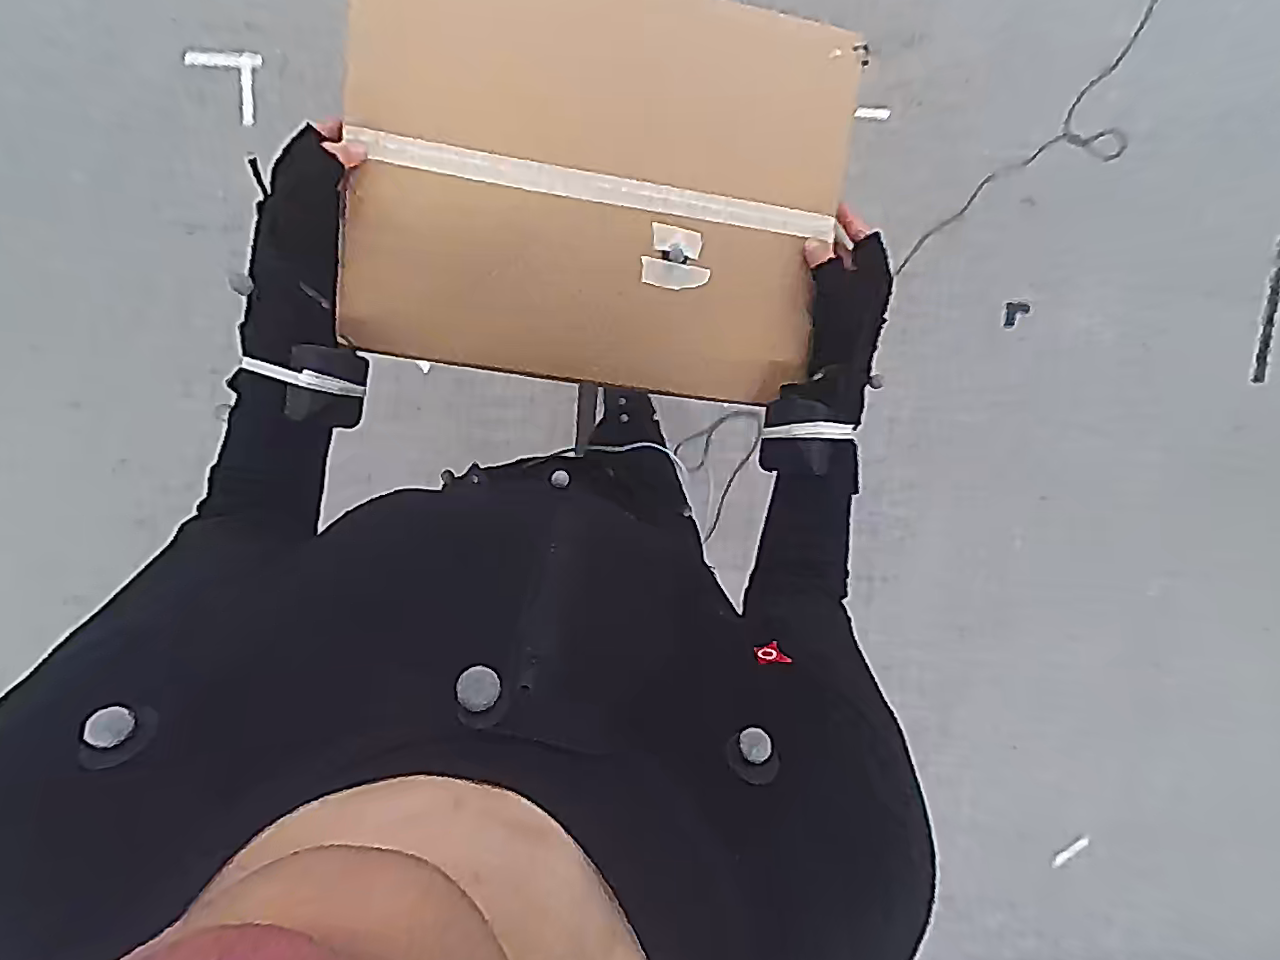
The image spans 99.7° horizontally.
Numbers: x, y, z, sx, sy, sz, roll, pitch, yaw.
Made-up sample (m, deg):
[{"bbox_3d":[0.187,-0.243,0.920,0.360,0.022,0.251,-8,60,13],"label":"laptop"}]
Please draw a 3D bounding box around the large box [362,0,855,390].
[{"bbox_3d":[-0.046,-0.279,0.607,0.408,0.320,0.320,6,101,-9],"label":"large box"}]
